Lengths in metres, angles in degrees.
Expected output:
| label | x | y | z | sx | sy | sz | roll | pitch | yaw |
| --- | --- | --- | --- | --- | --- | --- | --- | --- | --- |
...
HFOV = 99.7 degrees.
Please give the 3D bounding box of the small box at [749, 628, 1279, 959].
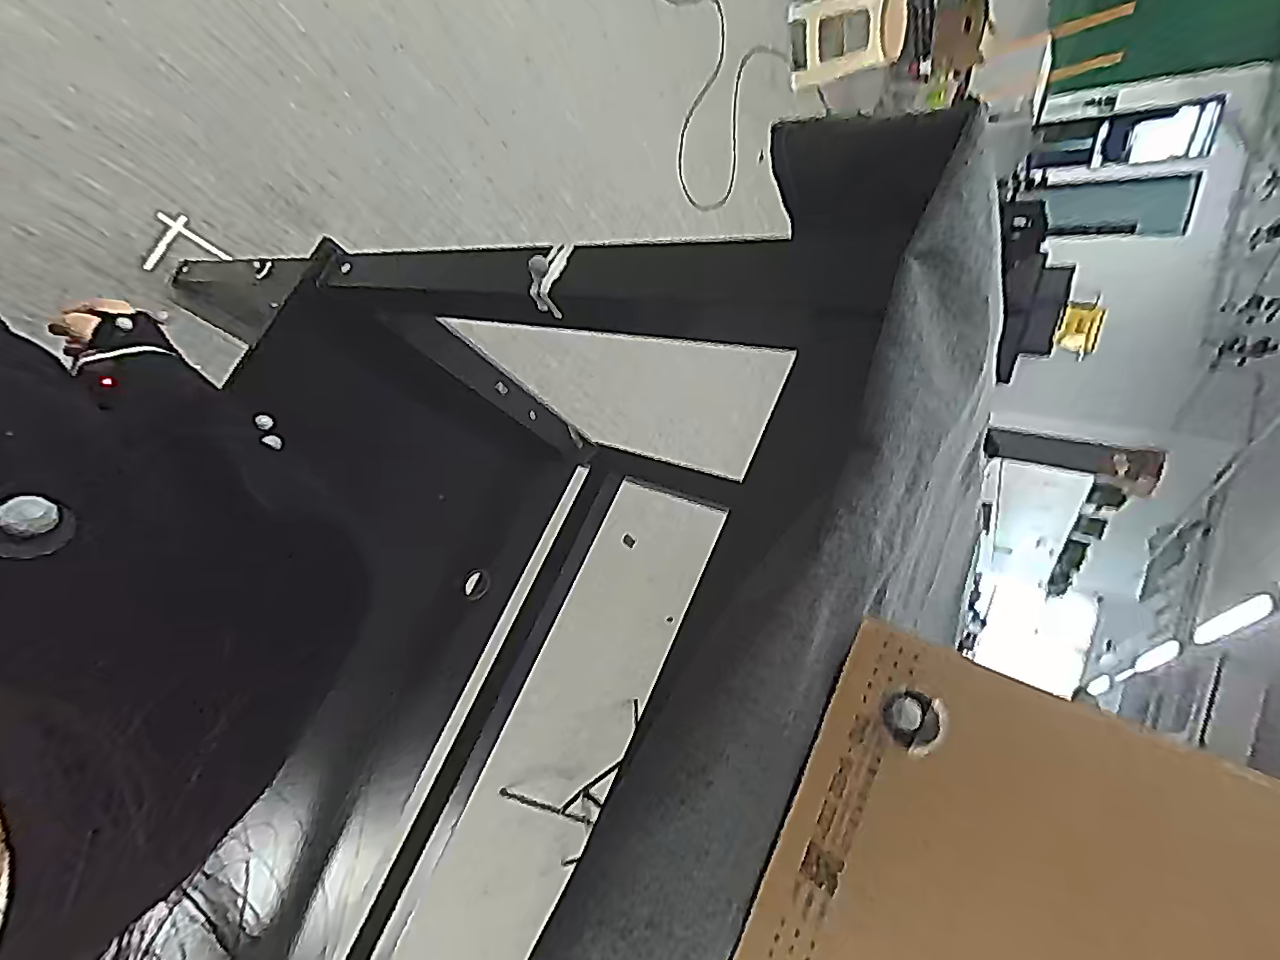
| label | x | y | z | sx | sy | sz | roll | pitch | yaw |
| --- | --- | --- | --- | --- | --- | --- | --- | --- | --- |
| small box | 0.173 | 0.187 | 0.262 | 0.179 | 0.176 | 0.168 | 36 | 76 | -54 |
